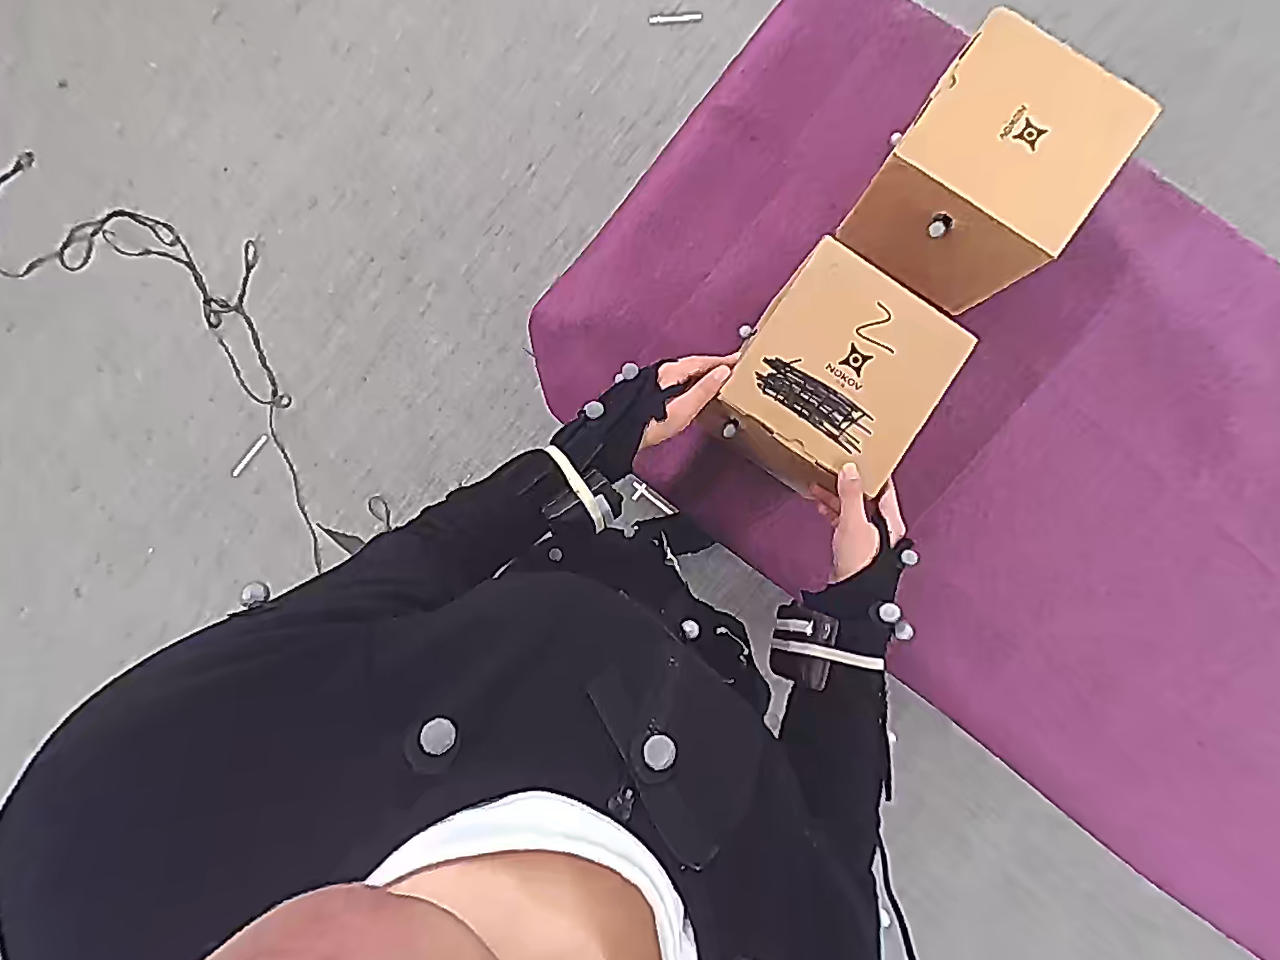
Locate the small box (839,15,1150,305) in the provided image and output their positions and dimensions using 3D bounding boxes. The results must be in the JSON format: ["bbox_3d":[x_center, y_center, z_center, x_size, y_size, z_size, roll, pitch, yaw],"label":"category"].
[{"bbox_3d":[0.348,-0.310,0.571,0.179,0.176,0.168,35,90,3],"label":"small box"}]
